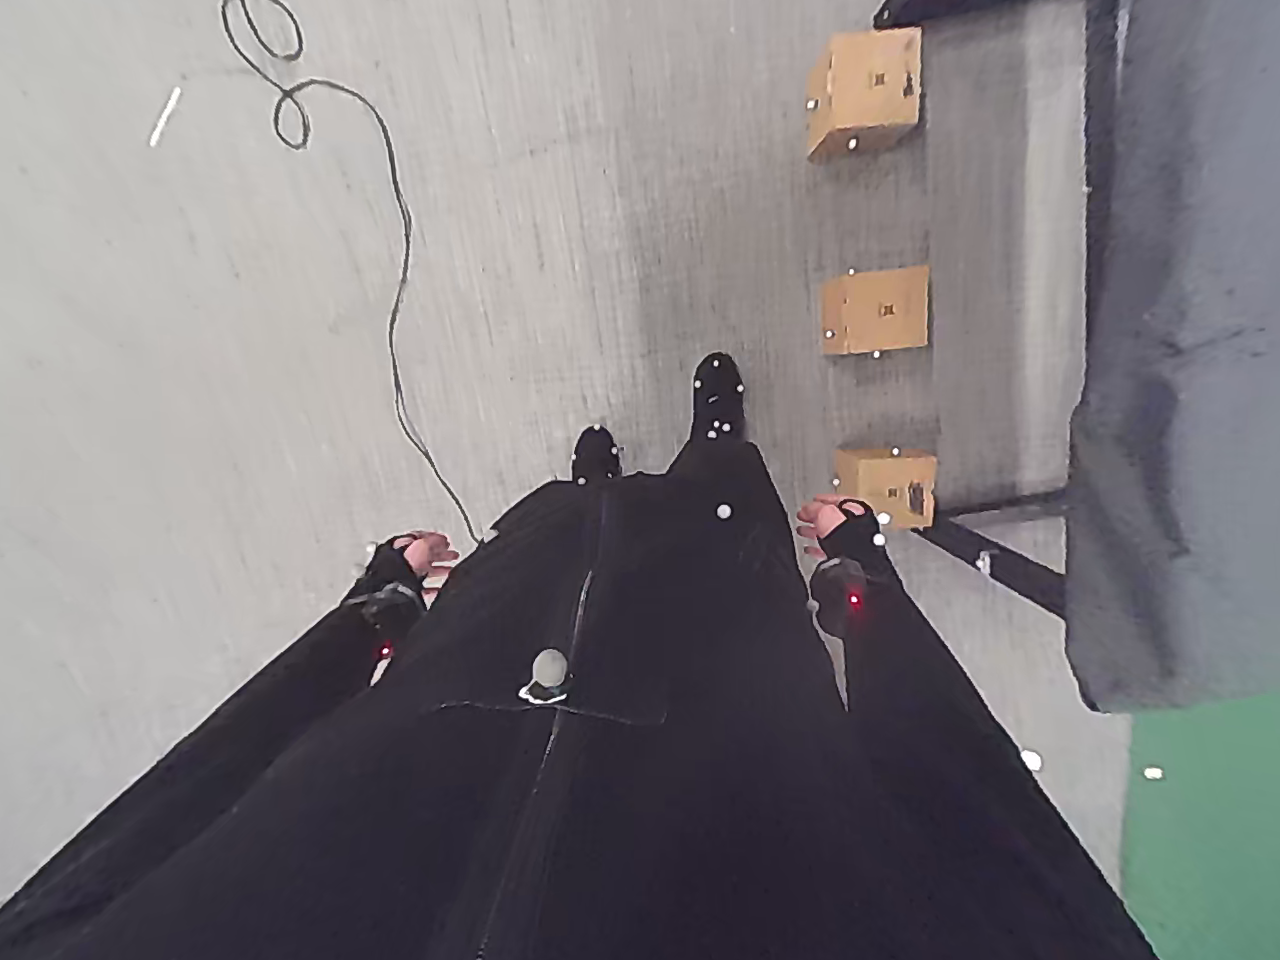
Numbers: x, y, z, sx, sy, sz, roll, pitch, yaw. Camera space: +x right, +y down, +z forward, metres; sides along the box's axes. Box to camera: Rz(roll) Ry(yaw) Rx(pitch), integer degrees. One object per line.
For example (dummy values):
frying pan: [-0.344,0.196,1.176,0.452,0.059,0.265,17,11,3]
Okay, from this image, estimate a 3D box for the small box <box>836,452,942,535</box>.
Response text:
small box: [0.587,0.028,1.291,0.179,0.176,0.168,-3,101,2]

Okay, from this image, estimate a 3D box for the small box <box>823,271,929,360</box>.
small box: [0.523,-0.363,1.220,0.179,0.176,0.168,-7,102,0]
